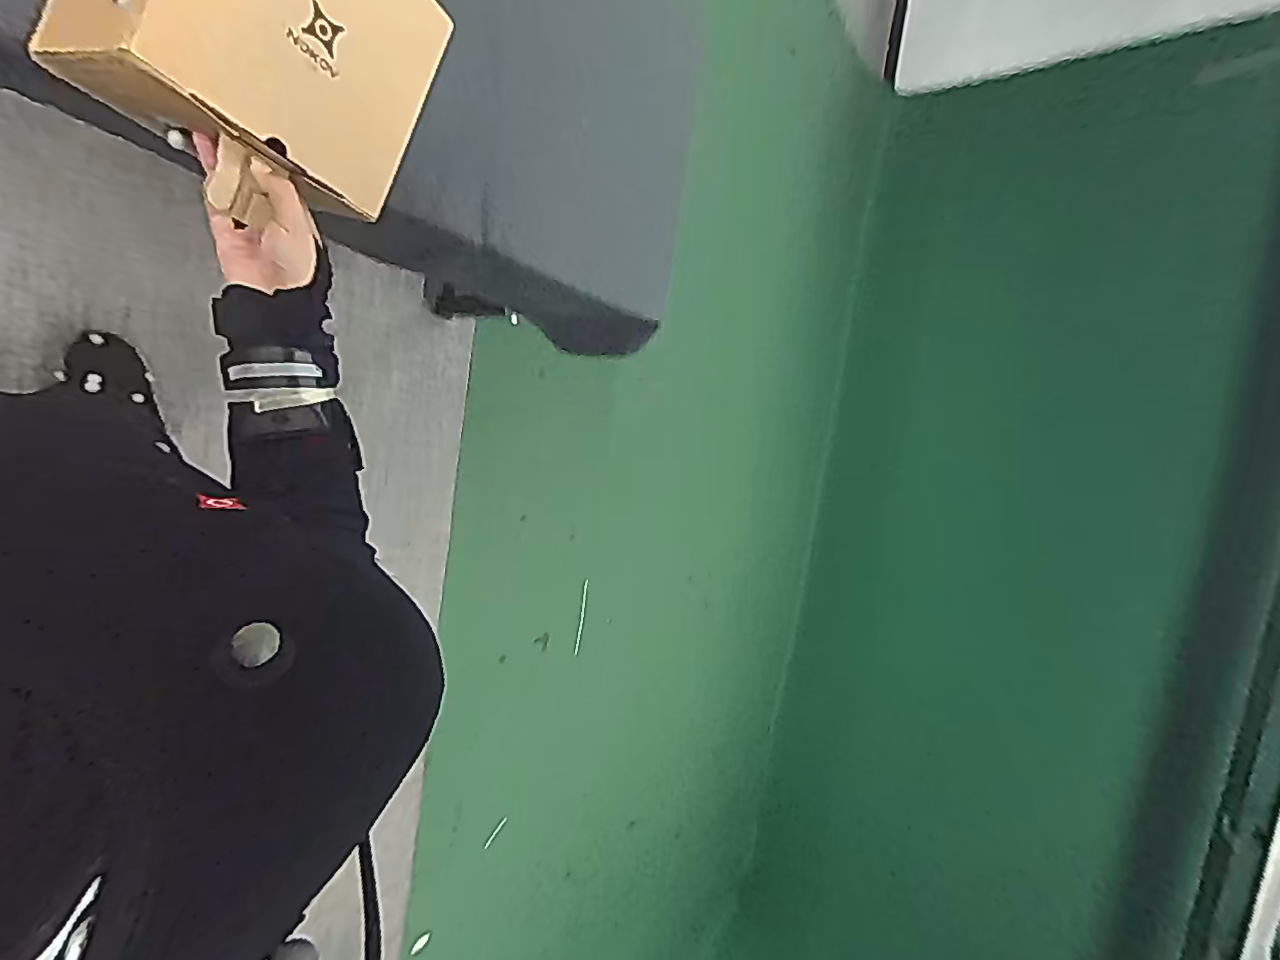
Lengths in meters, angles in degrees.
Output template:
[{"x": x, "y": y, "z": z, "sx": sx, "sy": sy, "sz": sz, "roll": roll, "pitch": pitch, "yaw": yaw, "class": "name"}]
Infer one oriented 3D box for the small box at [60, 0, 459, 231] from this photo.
[{"x": -0.281, "y": -0.328, "z": 0.413, "sx": 0.168, "sy": 0.176, "sz": 0.179, "roll": 21, "pitch": 93, "yaw": -64, "class": "small box"}]
